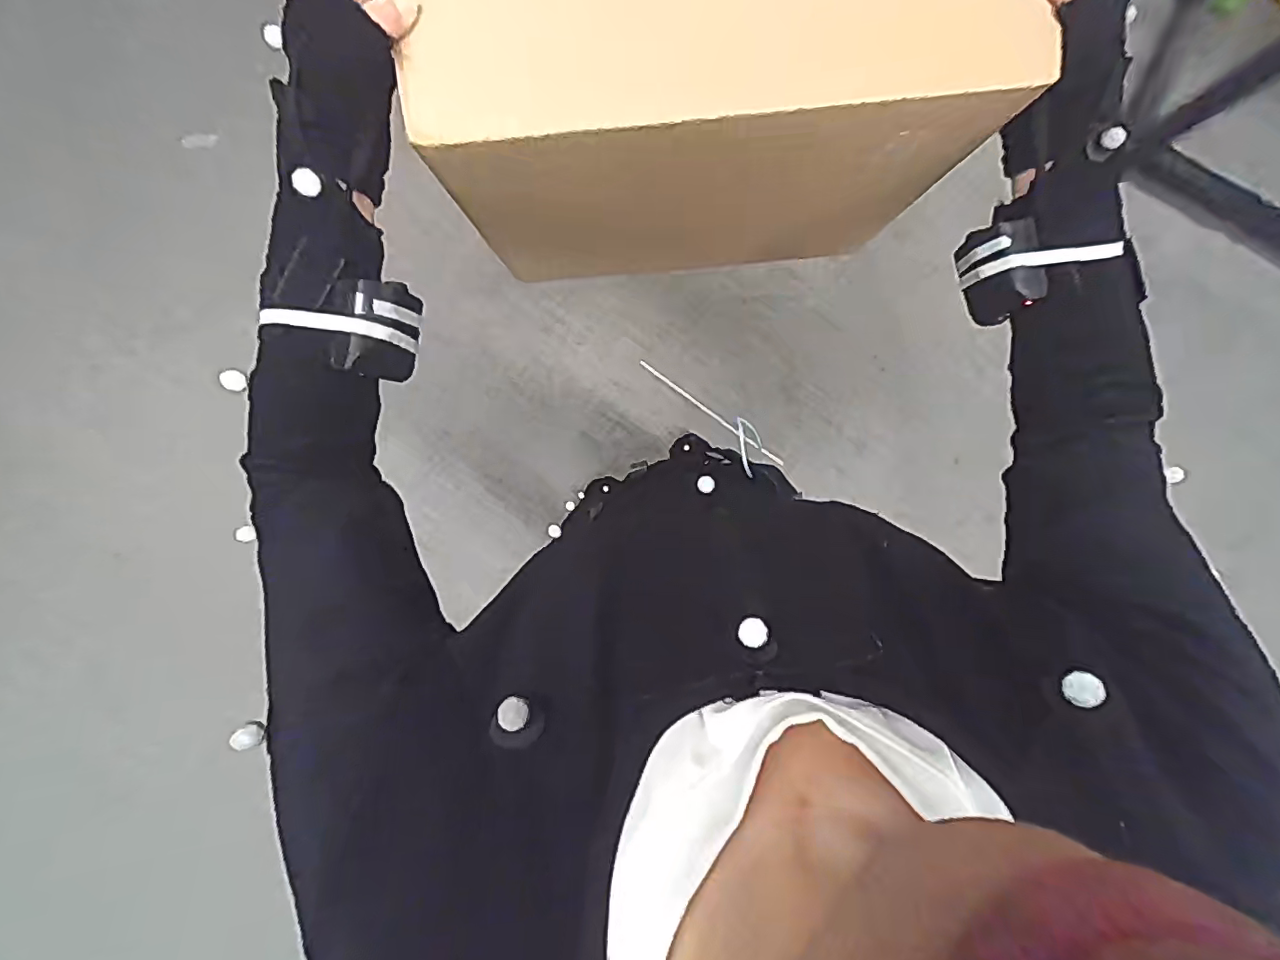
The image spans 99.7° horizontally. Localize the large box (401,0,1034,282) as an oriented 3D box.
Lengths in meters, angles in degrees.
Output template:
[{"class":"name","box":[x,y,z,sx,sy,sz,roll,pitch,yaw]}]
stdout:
[{"class":"large box","box":[0.034,-0.396,0.482,0.408,0.320,0.320,-7,95,-1]}]
